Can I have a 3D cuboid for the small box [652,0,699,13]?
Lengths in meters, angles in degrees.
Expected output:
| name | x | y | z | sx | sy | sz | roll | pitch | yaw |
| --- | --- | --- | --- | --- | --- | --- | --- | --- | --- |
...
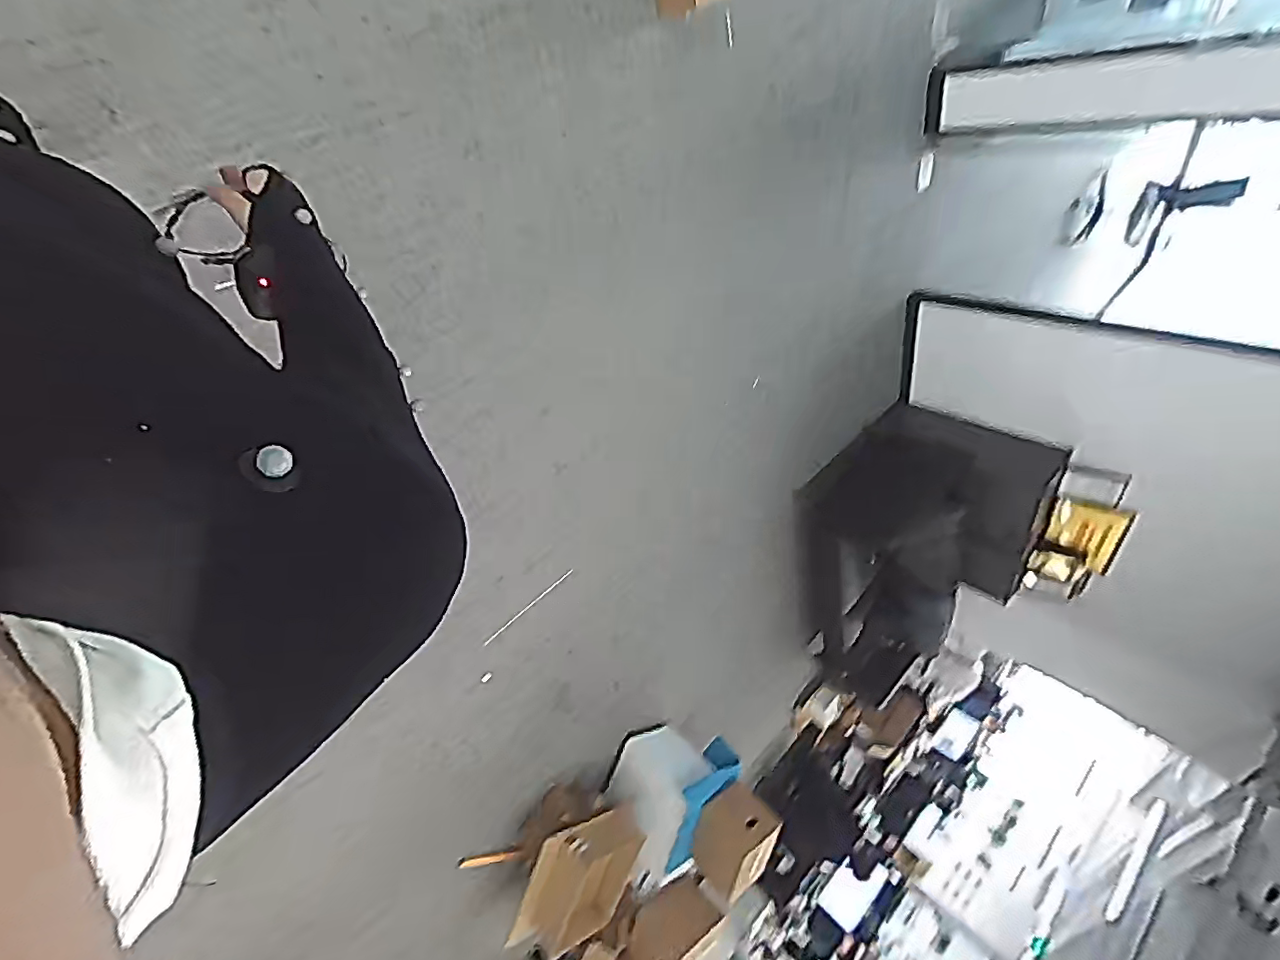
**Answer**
| name | x | y | z | sx | sy | sz | roll | pitch | yaw |
| --- | --- | --- | --- | --- | --- | --- | --- | --- | --- |
| small box | 0.133 | -1.533 | 1.606 | 0.168 | 0.176 | 0.179 | -40 | 136 | -22 |
